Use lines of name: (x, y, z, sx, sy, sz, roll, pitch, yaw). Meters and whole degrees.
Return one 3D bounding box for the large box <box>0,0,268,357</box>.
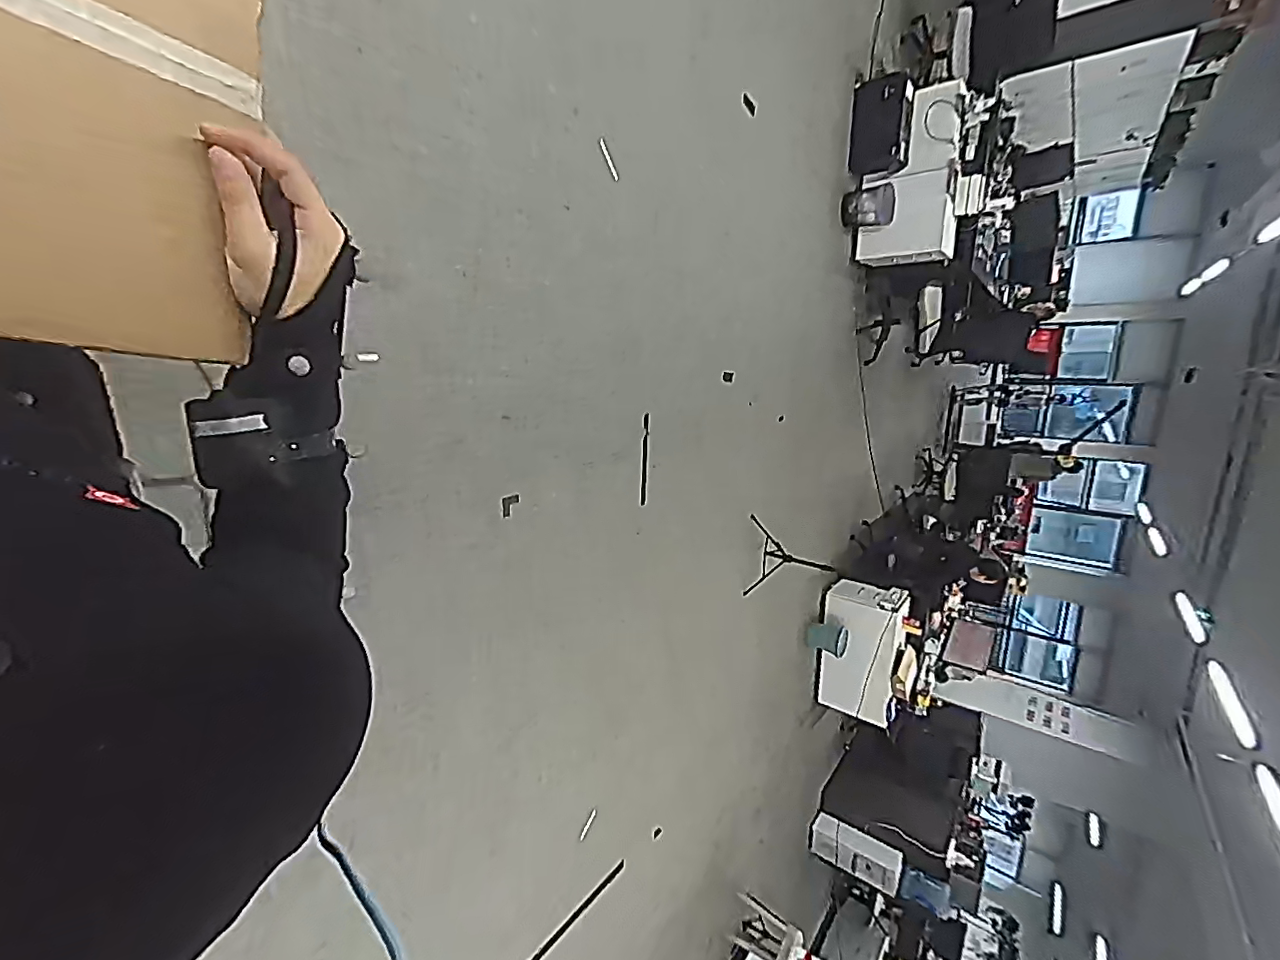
large box: (-0.473, -0.249, 0.265, 0.408, 0.320, 0.320, -4, 106, -54)
